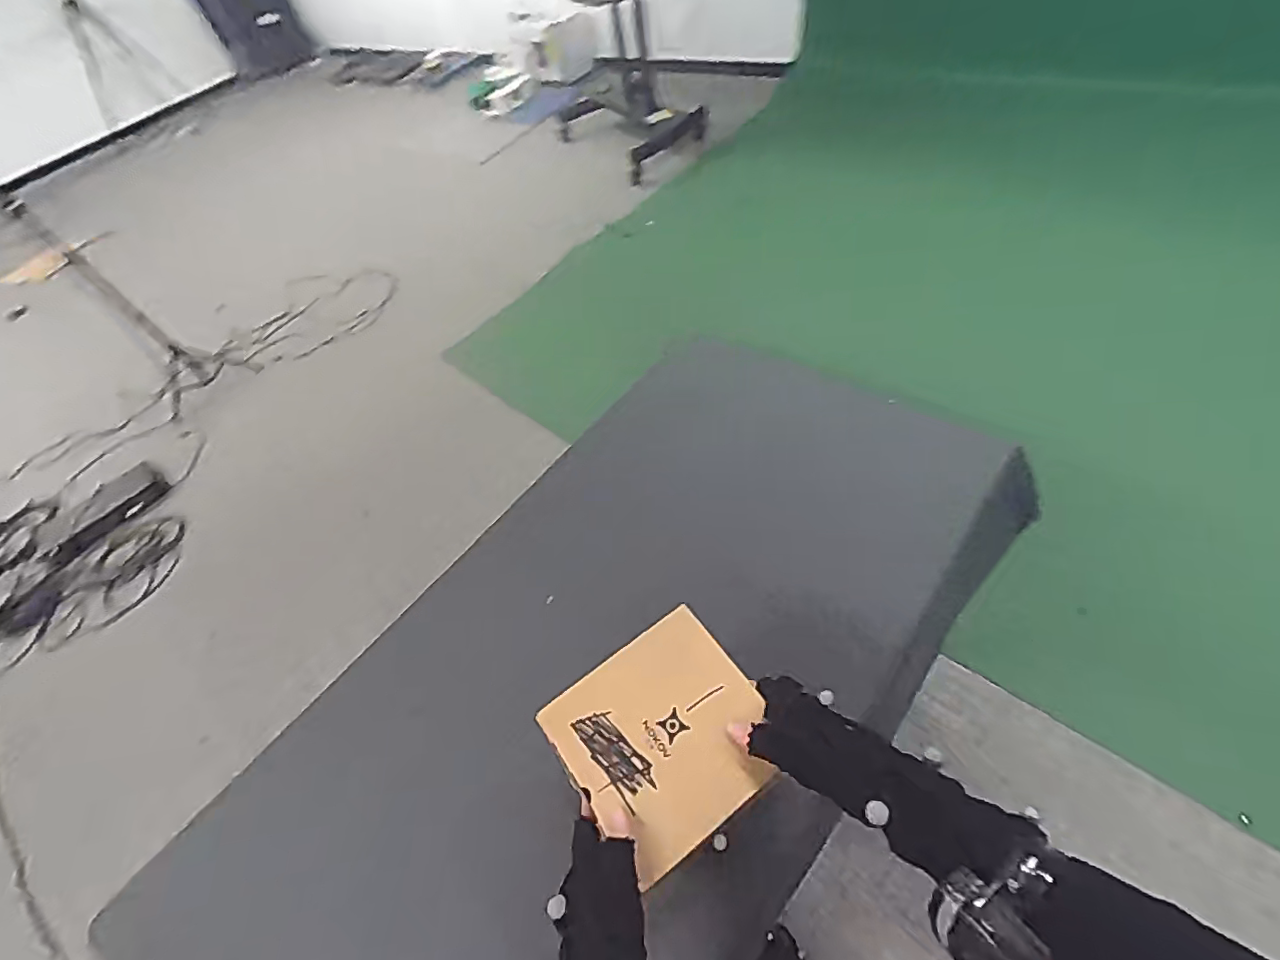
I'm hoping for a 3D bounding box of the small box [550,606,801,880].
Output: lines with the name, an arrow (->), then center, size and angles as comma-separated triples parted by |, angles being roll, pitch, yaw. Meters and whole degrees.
small box -> 0.036, 0.268, 0.554 | 0.179, 0.176, 0.168 | -32, 58, -15
